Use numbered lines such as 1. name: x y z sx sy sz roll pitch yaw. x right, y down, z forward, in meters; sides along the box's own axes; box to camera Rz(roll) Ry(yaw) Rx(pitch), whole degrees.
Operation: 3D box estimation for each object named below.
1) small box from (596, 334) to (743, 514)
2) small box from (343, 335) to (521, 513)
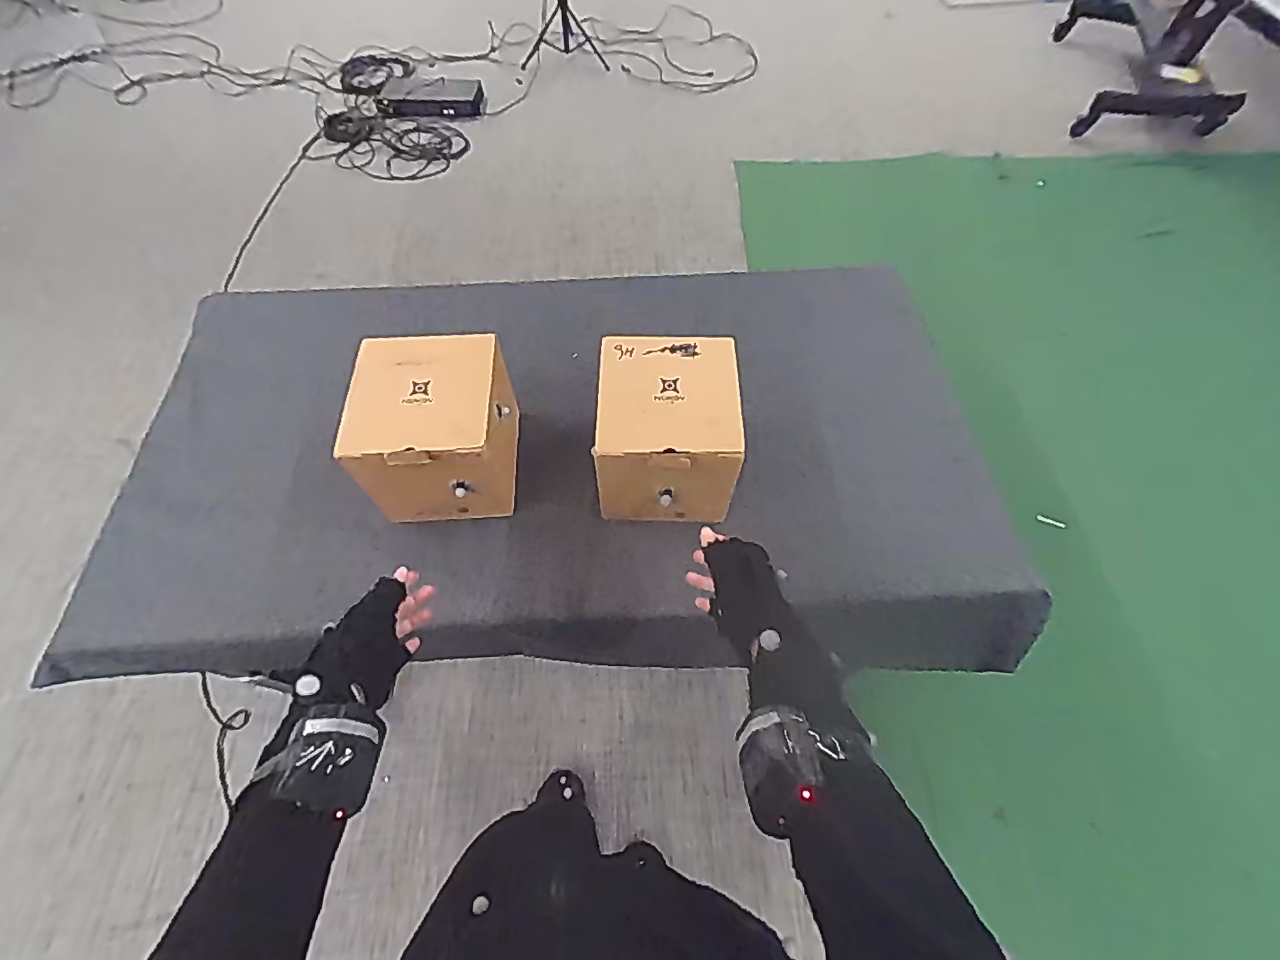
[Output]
1. small box: 0.035 -0.066 0.704 0.168 0.176 0.179 1 61 -1
2. small box: -0.253 -0.064 0.707 0.168 0.176 0.179 -3 59 -3
